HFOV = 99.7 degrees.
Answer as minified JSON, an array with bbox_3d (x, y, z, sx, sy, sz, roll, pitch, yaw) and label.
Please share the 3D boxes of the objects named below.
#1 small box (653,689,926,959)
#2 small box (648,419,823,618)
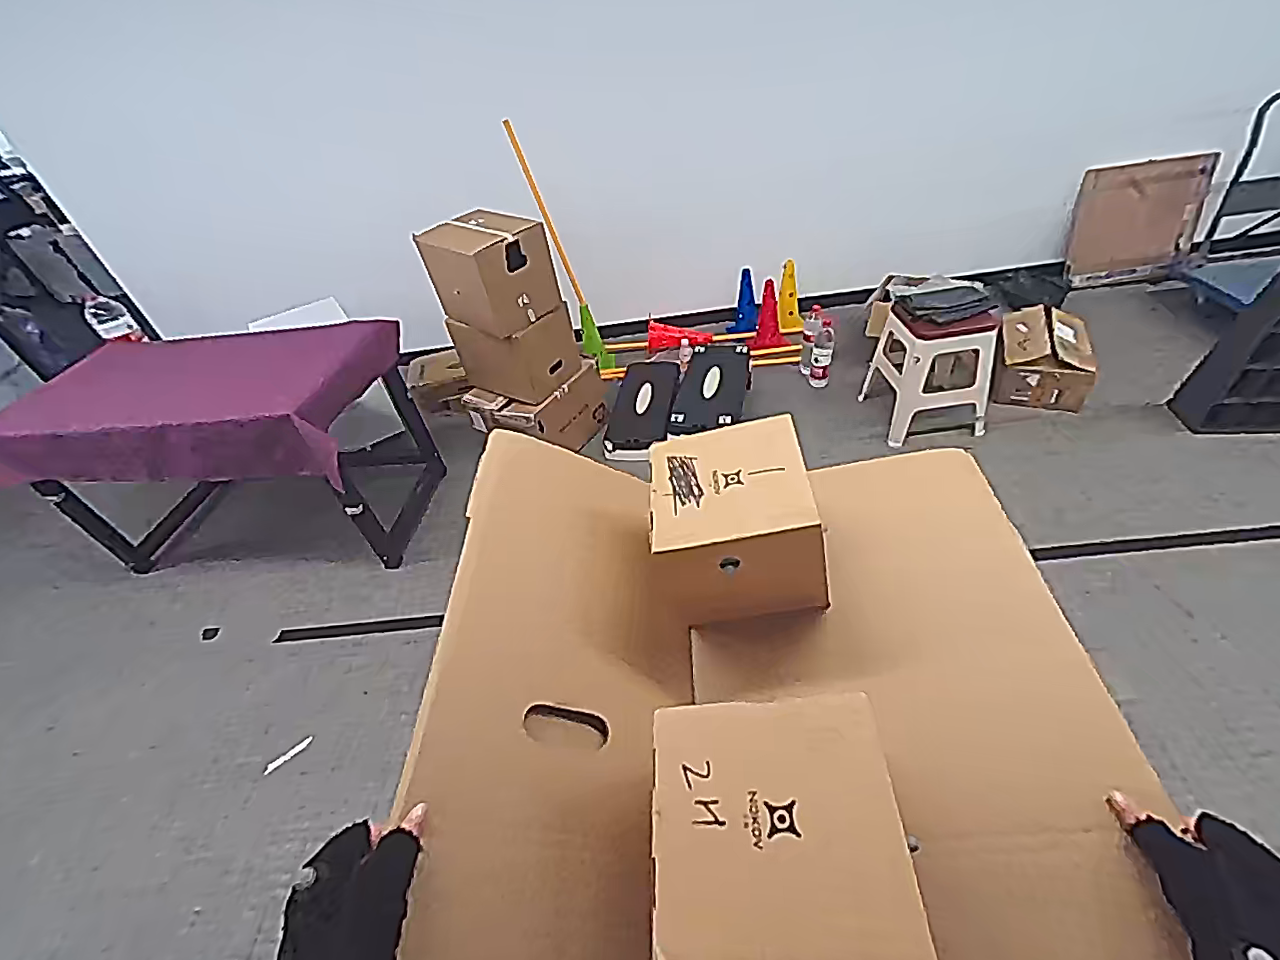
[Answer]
[{"bbox_3d":[0.117,0.292,0.456,0.179,0.176,0.168,-11,47,14],"label":"small box"},{"bbox_3d":[0.118,0.055,0.672,0.179,0.176,0.168,-12,46,12],"label":"small box"}]
